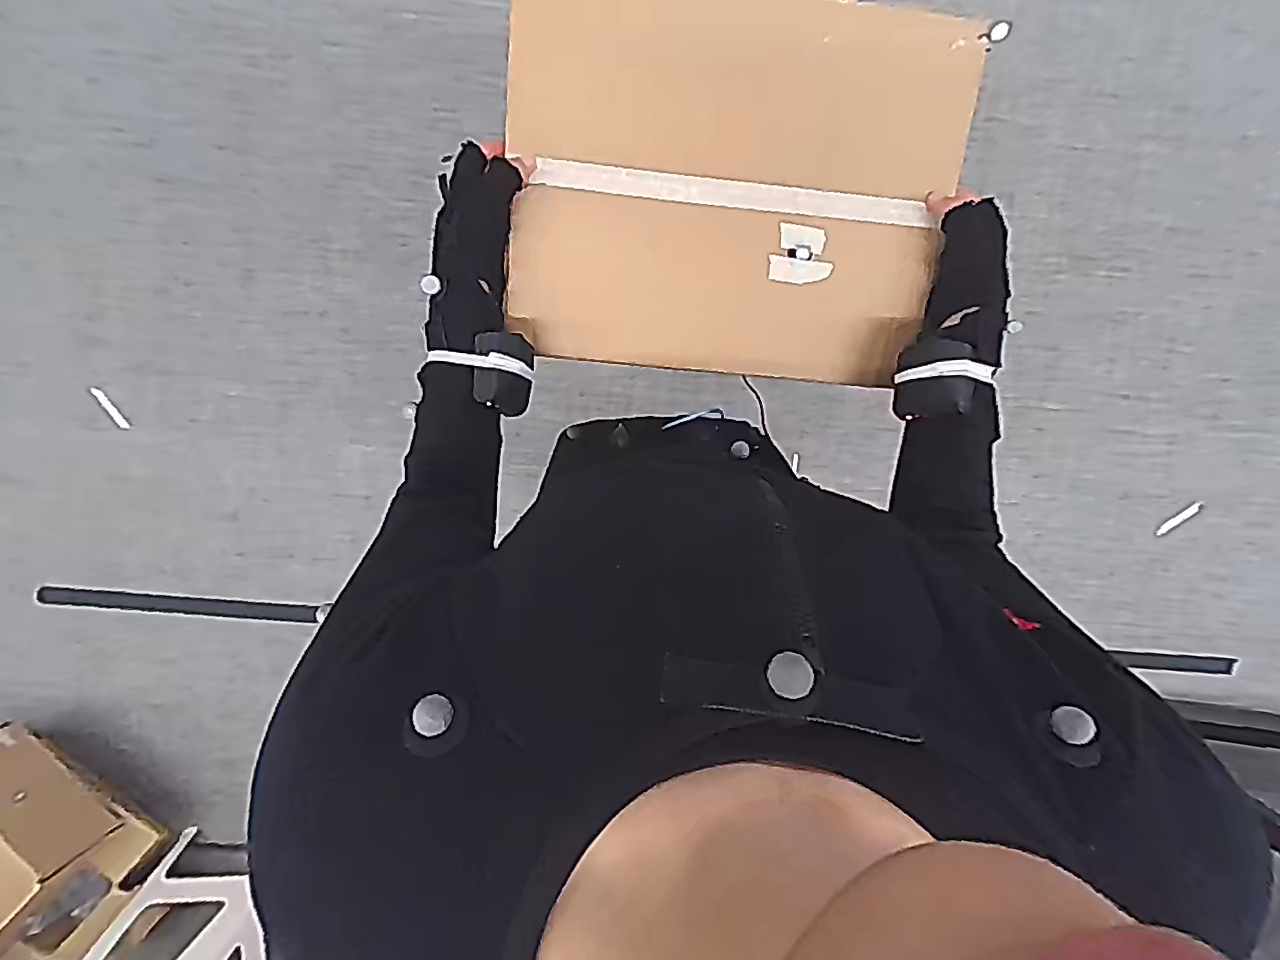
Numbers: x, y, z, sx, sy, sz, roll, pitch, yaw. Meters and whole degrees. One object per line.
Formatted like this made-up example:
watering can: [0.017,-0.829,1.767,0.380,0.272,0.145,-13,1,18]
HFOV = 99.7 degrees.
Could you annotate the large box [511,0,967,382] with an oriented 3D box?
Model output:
large box: [0.071,-0.296,0.642,0.408,0.320,0.320,4,105,-5]
